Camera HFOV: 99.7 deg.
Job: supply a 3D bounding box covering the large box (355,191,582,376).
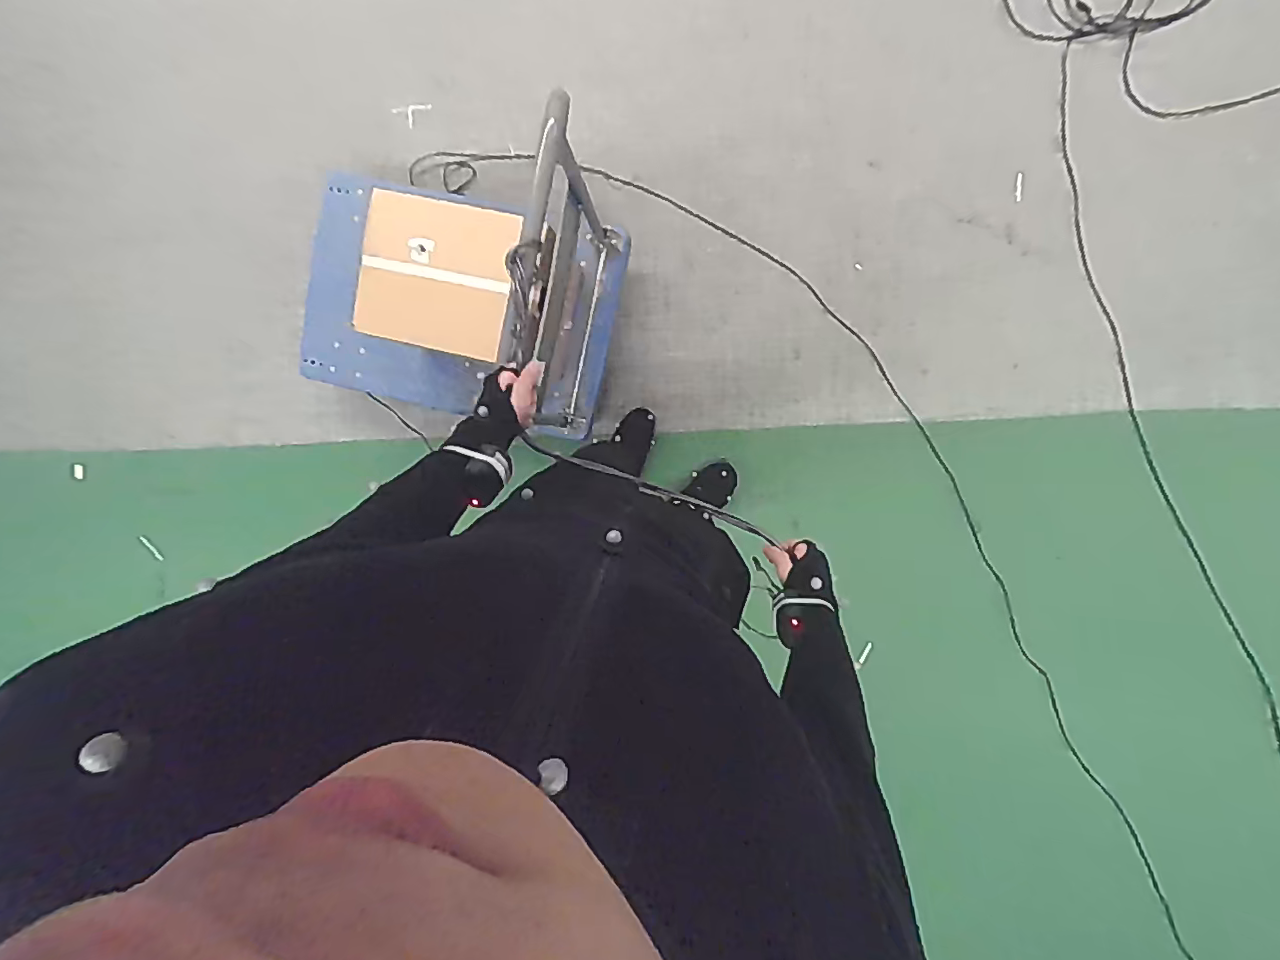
[{"bbox_3d":[-0.390,-0.448,1.306,0.408,0.320,0.320,14,96,7],"label":"large box"}]
